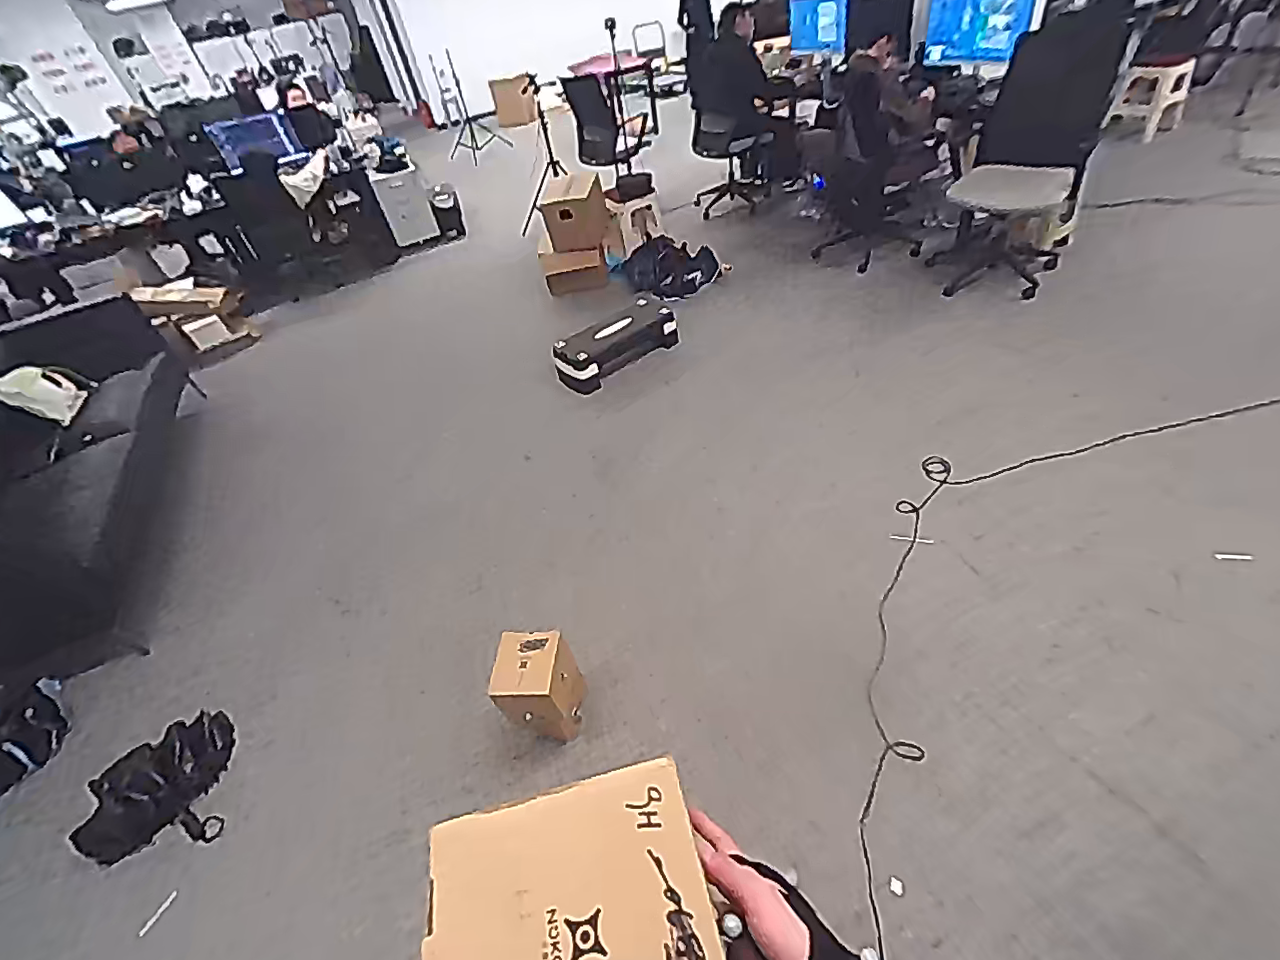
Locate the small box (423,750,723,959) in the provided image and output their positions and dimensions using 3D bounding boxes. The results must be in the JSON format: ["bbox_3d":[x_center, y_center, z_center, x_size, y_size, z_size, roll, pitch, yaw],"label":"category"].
[{"bbox_3d":[-0.038,0.321,0.393,0.179,0.176,0.168,-14,52,-2],"label":"small box"}]

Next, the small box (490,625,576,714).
[{"bbox_3d":[-0.280,0.511,1.458,0.168,0.176,0.179,-4,46,10],"label":"small box"}]

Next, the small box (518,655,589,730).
[{"bbox_3d":[-0.269,0.612,1.590,0.179,0.176,0.168,6,48,18],"label":"small box"}]
